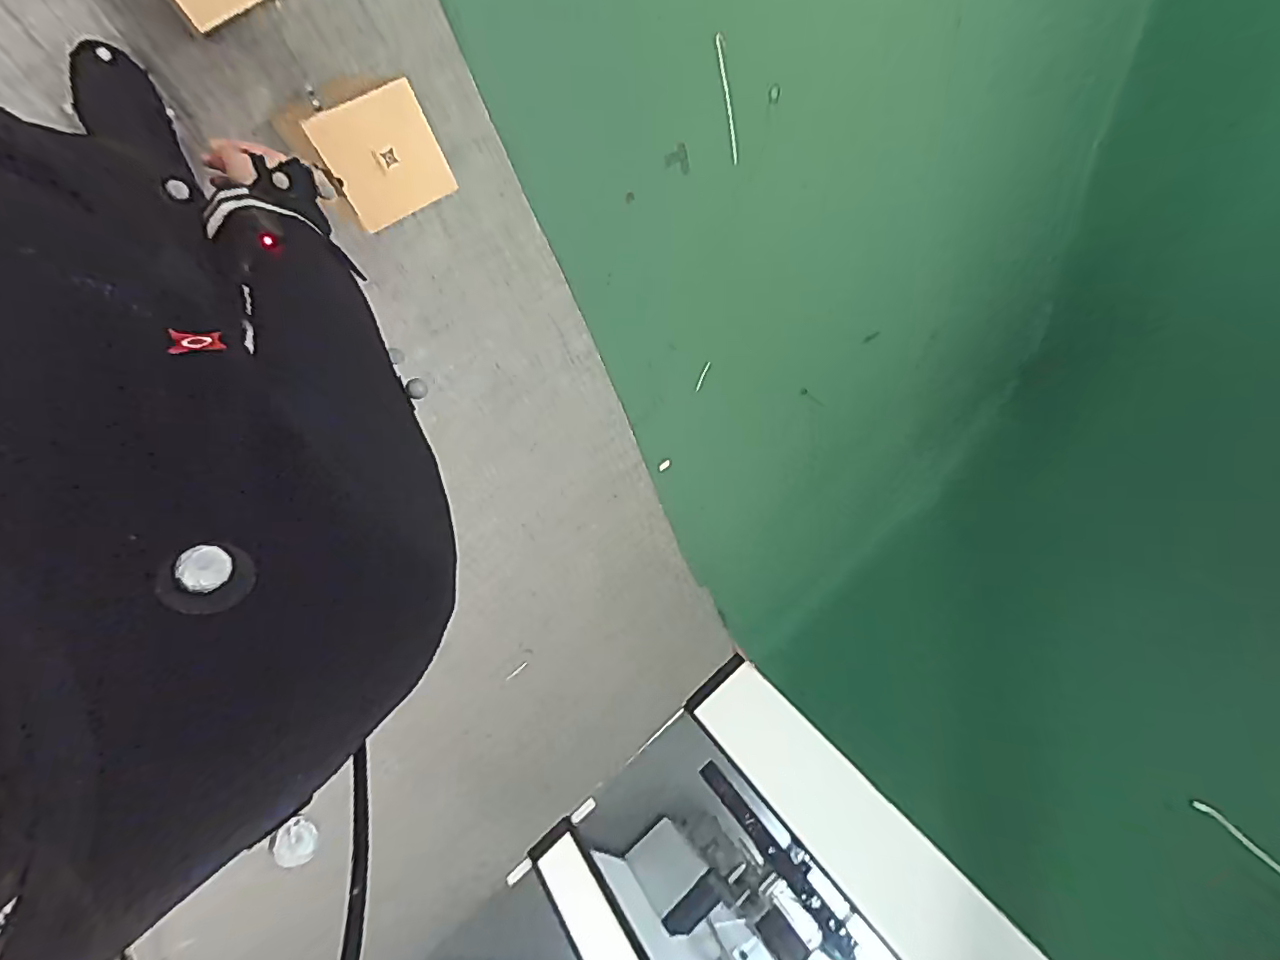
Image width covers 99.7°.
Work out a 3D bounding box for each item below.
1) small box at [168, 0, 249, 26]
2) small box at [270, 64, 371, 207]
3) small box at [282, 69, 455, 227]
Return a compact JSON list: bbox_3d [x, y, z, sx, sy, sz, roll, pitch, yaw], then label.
[{"bbox_3d":[-0.642,-0.793,0.777,0.179,0.176,0.168,-40,138,-9],"label":"small box"},{"bbox_3d":[-0.542,-0.632,0.990,0.179,0.176,0.168,-37,139,-12],"label":"small box"},{"bbox_3d":[-0.445,-0.550,0.888,0.179,0.176,0.168,-37,139,-14],"label":"small box"}]
